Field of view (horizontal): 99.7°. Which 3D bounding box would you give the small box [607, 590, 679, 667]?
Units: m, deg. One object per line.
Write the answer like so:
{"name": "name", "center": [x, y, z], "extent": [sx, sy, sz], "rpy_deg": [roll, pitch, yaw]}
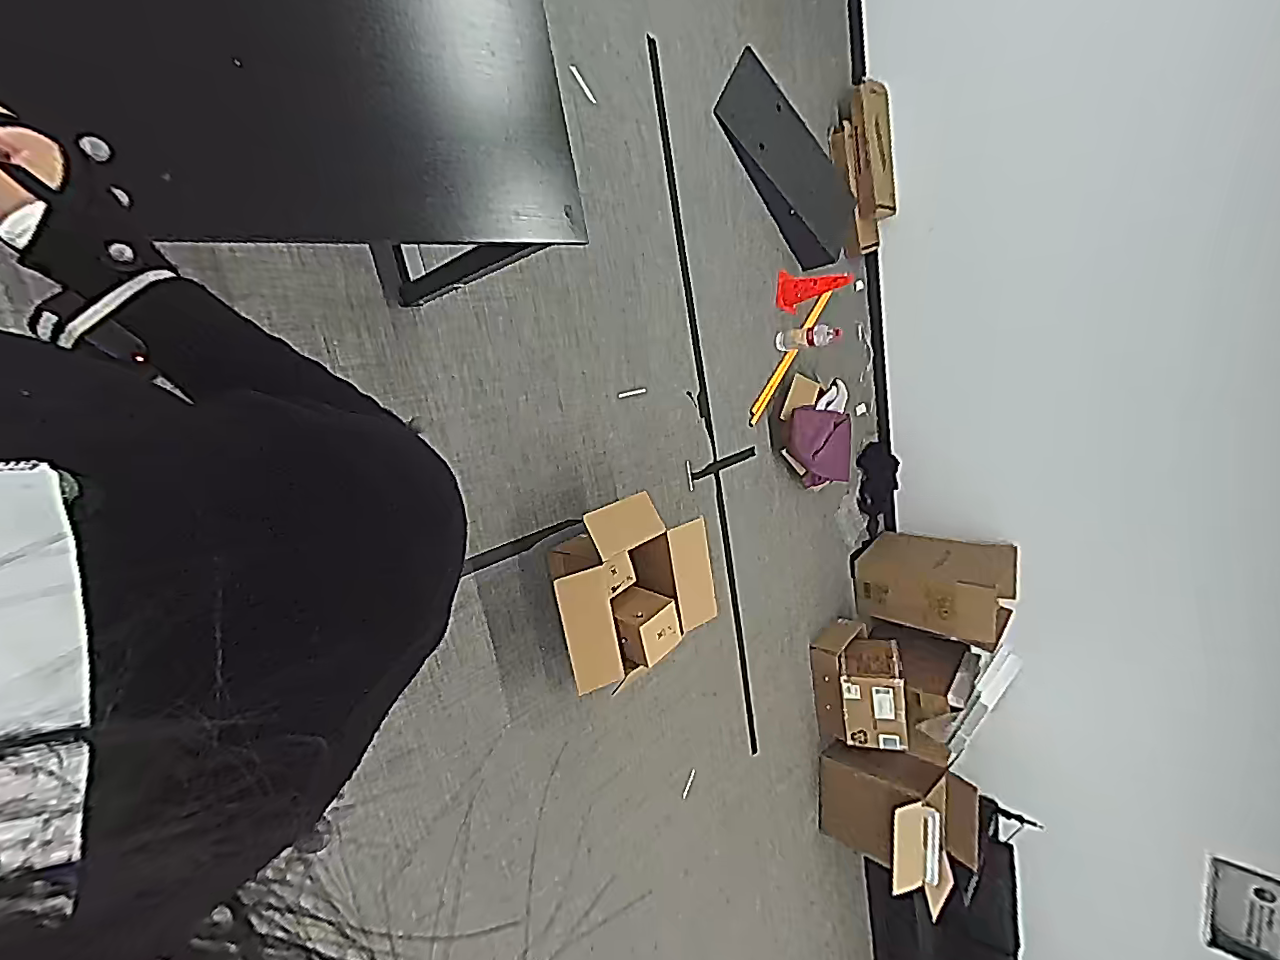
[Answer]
{"name": "small box", "center": [0.003, 0.500, 1.843], "extent": [0.179, 0.176, 0.168], "rpy_deg": [-29, 116, -40]}
